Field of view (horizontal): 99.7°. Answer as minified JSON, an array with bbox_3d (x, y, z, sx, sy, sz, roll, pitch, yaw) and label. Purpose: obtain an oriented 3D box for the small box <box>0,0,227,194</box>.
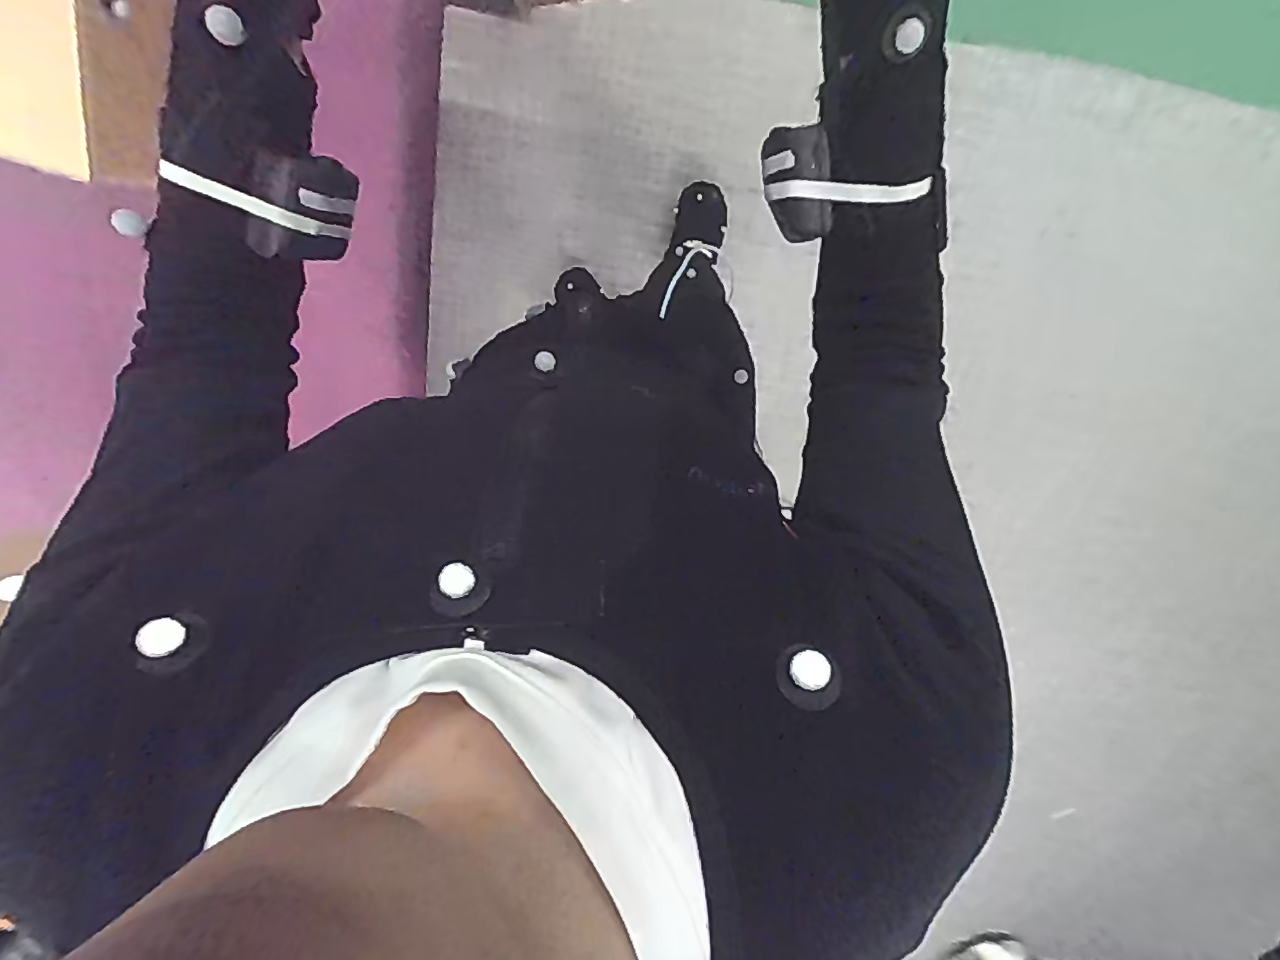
[{"bbox_3d":[-0.516,-0.380,0.493,0.168,0.176,0.179,15,112,-7],"label":"small box"}]
